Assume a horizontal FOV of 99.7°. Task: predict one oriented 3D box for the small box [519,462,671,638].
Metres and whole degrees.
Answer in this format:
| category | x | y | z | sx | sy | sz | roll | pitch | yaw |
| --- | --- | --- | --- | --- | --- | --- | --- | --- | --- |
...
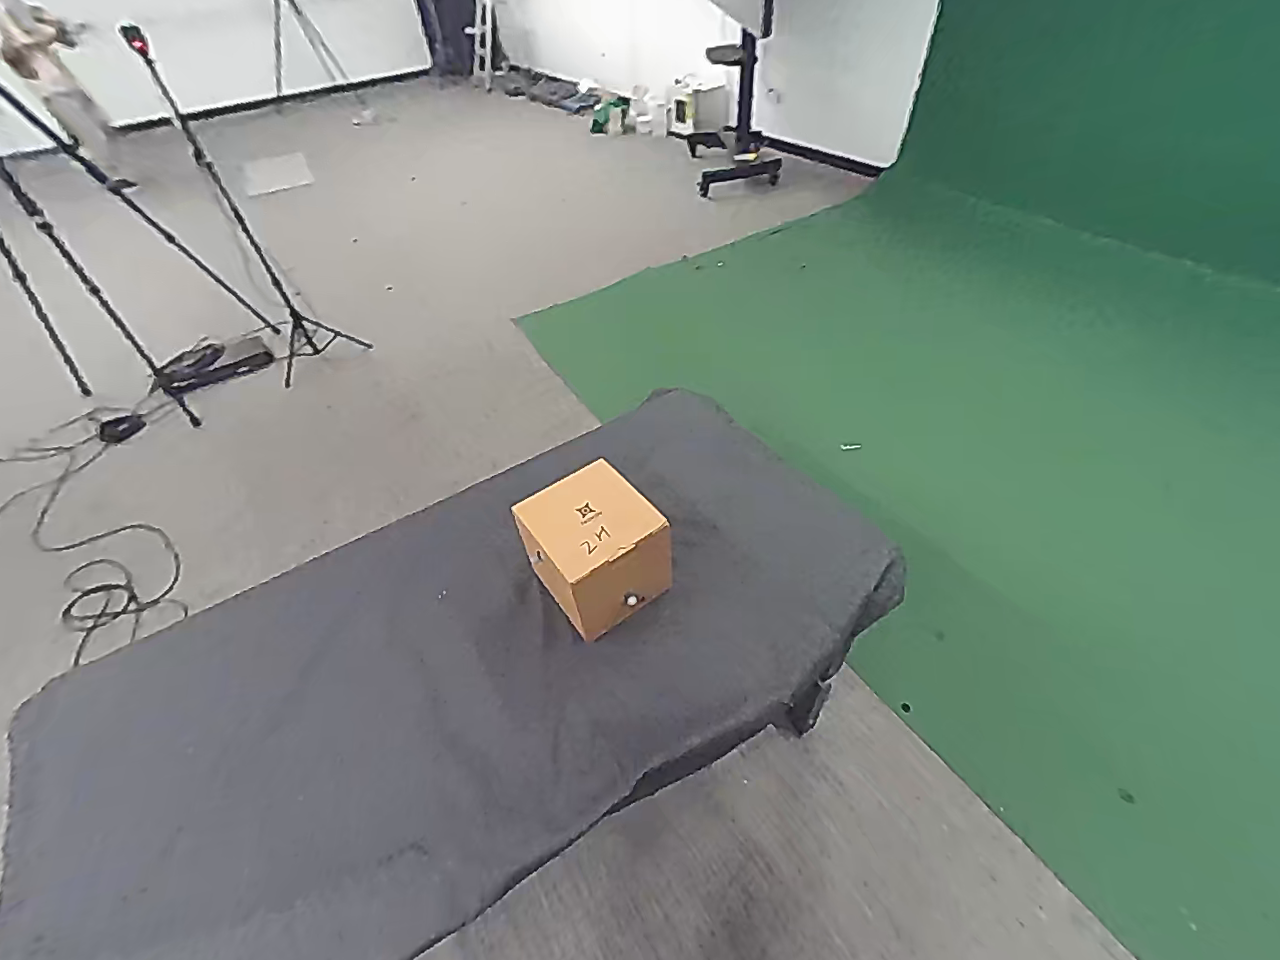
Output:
| category | x | y | z | sx | sy | sz | roll | pitch | yaw |
| --- | --- | --- | --- | --- | --- | --- | --- | --- | --- |
| small box | -0.066 | 0.110 | 0.848 | 0.168 | 0.176 | 0.179 | -30 | 51 | -21 |
